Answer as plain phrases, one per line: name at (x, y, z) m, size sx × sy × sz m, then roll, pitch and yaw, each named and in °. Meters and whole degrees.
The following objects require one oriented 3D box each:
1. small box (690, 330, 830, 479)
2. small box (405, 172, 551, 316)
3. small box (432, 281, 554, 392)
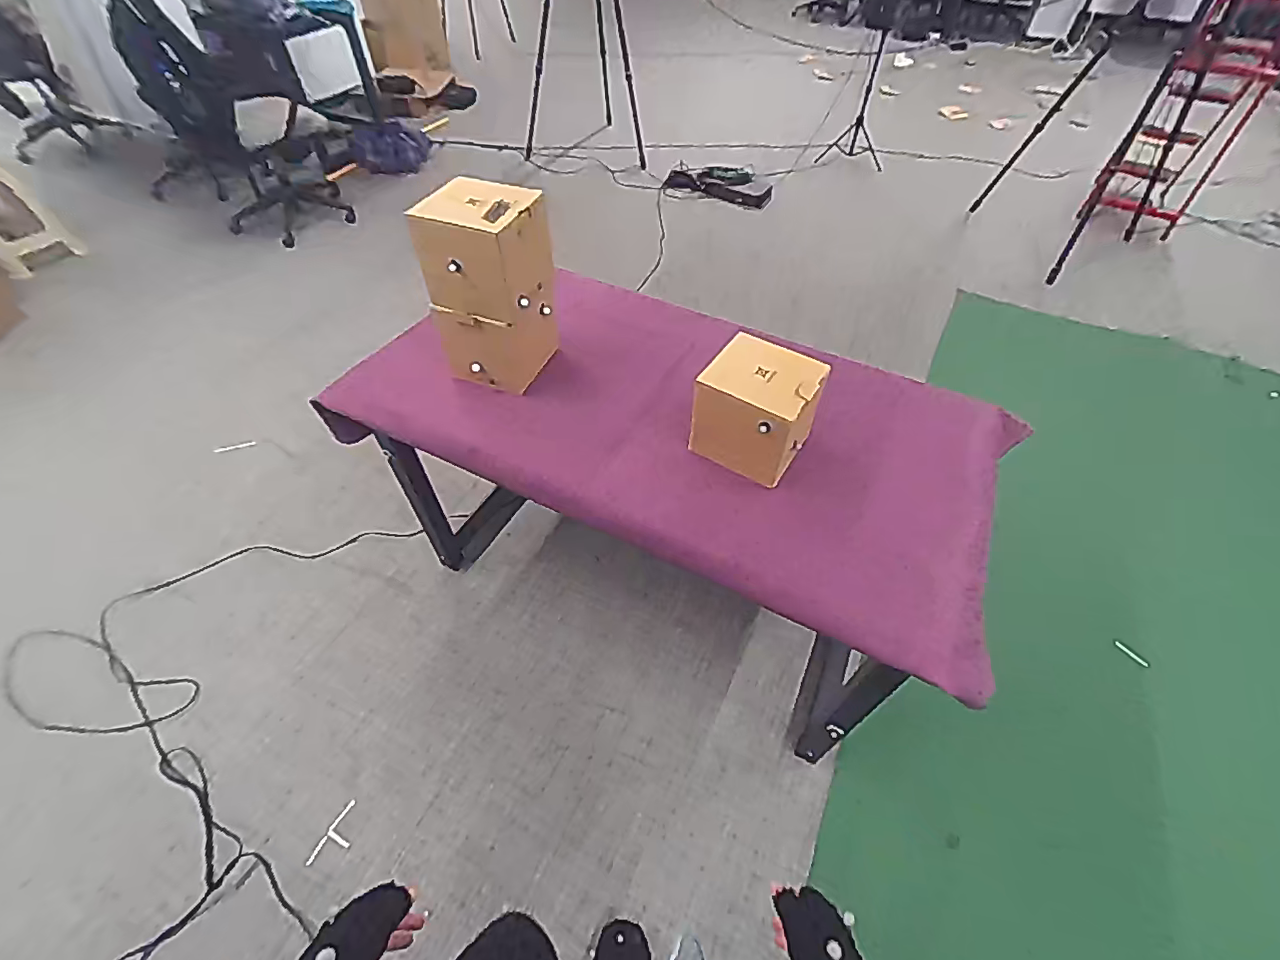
small box at (0.203, -0.131, 0.956) m, size 0.179 × 0.176 × 0.168 m, roll 27°, pitch 56°, yaw 20°
small box at (-0.274, -0.416, 0.964) m, size 0.179 × 0.176 × 0.168 m, roll 19°, pitch 51°, yaw 14°
small box at (-0.284, -0.310, 1.093) m, size 0.168 × 0.176 × 0.179 m, roll 17°, pitch 53°, yaw 13°
